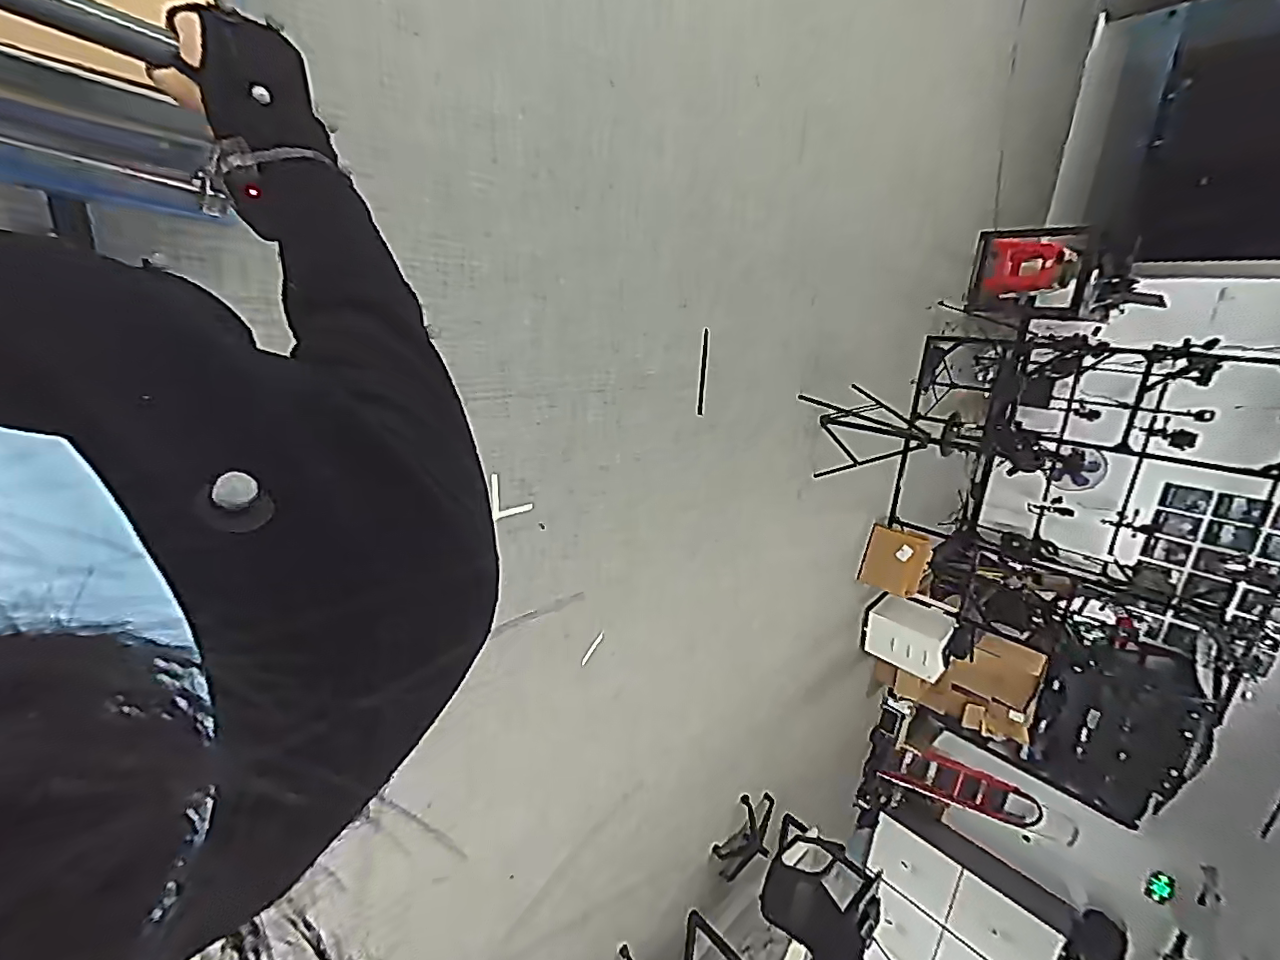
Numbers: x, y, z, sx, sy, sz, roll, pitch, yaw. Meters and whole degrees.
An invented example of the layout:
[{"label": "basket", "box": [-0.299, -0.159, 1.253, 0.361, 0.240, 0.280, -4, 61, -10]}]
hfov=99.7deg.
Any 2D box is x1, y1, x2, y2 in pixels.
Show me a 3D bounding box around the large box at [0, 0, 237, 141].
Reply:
[{"label": "large box", "box": [-0.801, -0.679, 0.681, 0.408, 0.320, 0.320, -10, 112, -45]}]
